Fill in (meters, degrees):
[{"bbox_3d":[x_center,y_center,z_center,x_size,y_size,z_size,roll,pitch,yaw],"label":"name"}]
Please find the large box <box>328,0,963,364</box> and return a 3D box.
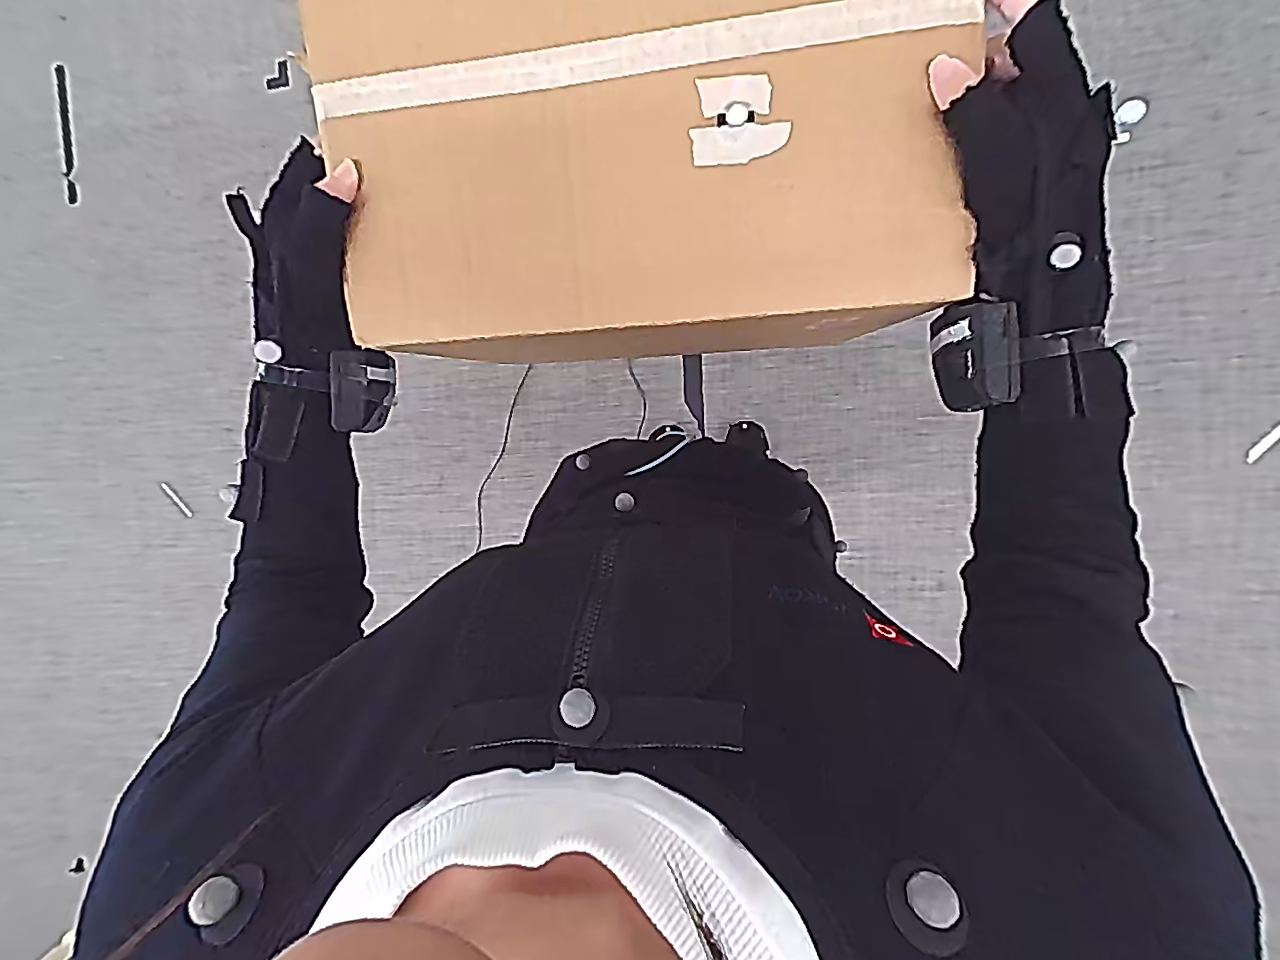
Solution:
[{"bbox_3d":[0.010,-0.285,0.489,0.408,0.320,0.320,-3,100,7],"label":"large box"}]
